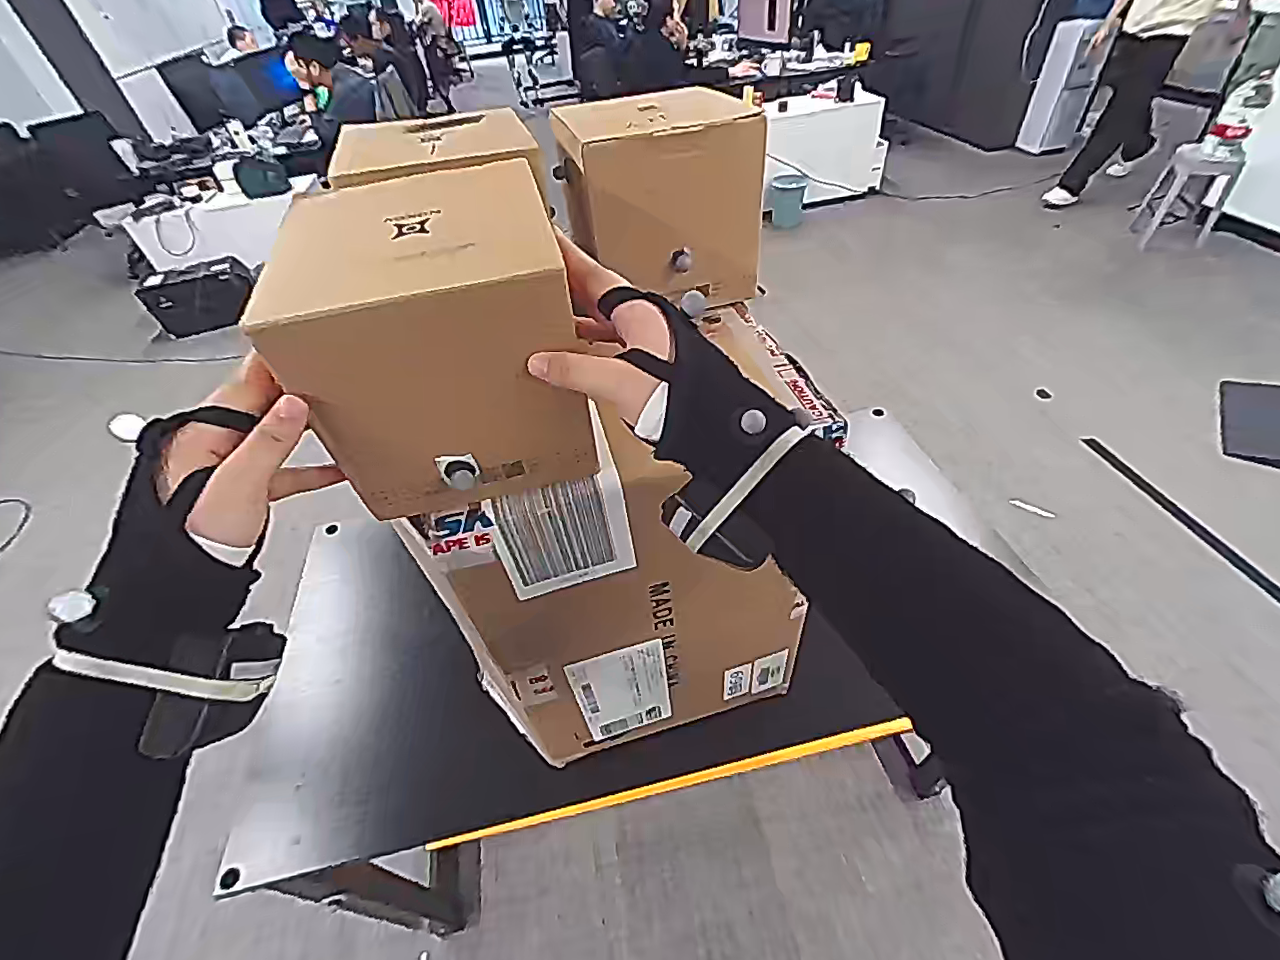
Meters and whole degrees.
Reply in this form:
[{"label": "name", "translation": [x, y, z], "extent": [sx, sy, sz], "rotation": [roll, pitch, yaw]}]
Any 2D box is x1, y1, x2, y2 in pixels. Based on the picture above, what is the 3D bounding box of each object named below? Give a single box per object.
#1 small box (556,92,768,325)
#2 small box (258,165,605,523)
[{"label": "small box", "translation": [0.017, -0.285, 0.566], "extent": [0.168, 0.176, 0.179], "rotation": [-14, 44, -7]}, {"label": "small box", "translation": [-0.129, -0.098, 0.393], "extent": [0.168, 0.176, 0.179], "rotation": [-15, 50, -7]}]
